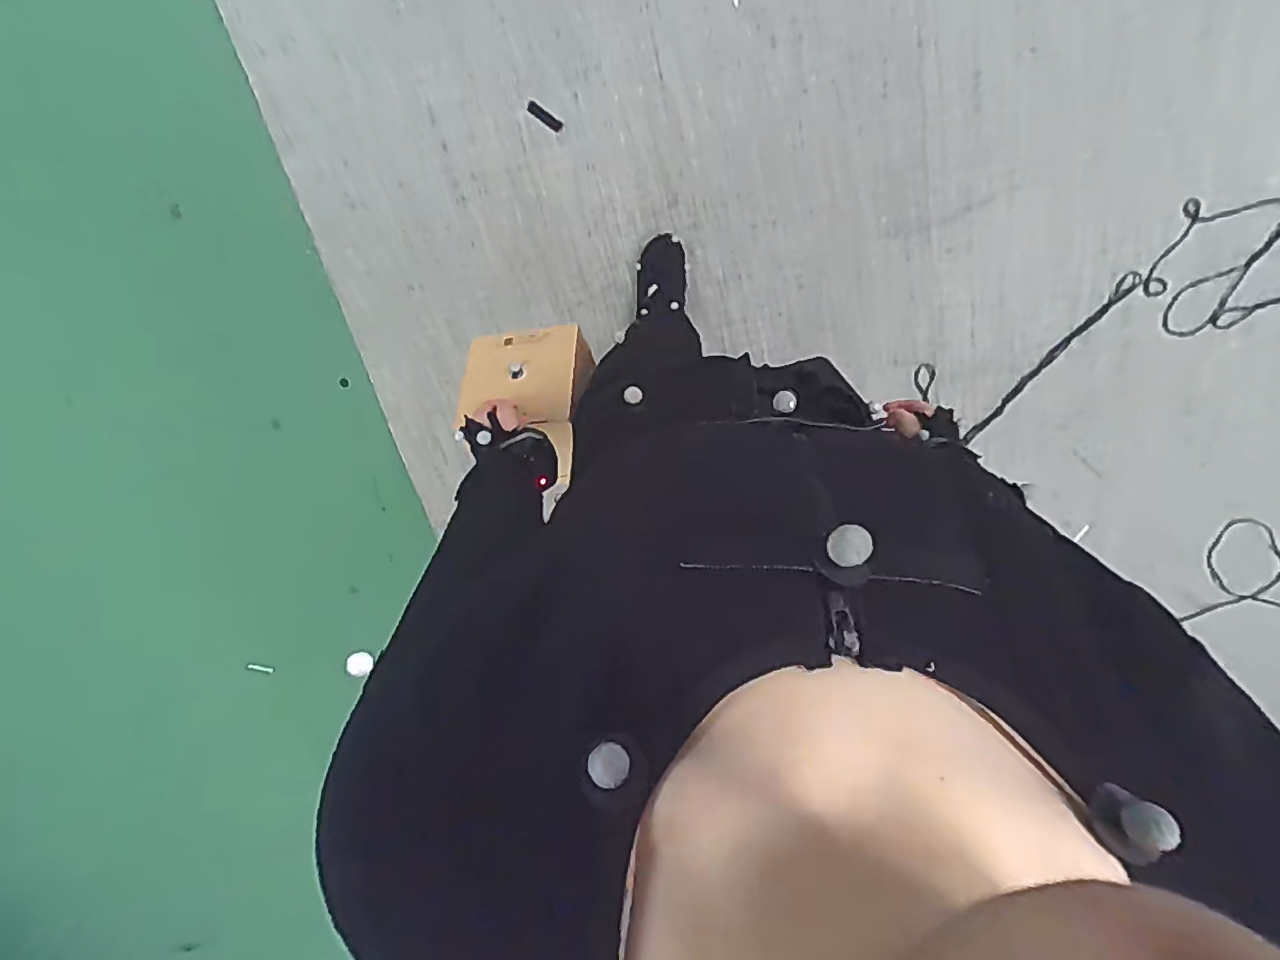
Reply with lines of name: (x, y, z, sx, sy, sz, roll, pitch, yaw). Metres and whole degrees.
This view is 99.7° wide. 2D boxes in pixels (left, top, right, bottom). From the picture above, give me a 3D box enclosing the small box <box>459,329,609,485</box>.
small box: (-0.148, -0.111, 0.815, 0.168, 0.176, 0.179, -5, 152, 11)
